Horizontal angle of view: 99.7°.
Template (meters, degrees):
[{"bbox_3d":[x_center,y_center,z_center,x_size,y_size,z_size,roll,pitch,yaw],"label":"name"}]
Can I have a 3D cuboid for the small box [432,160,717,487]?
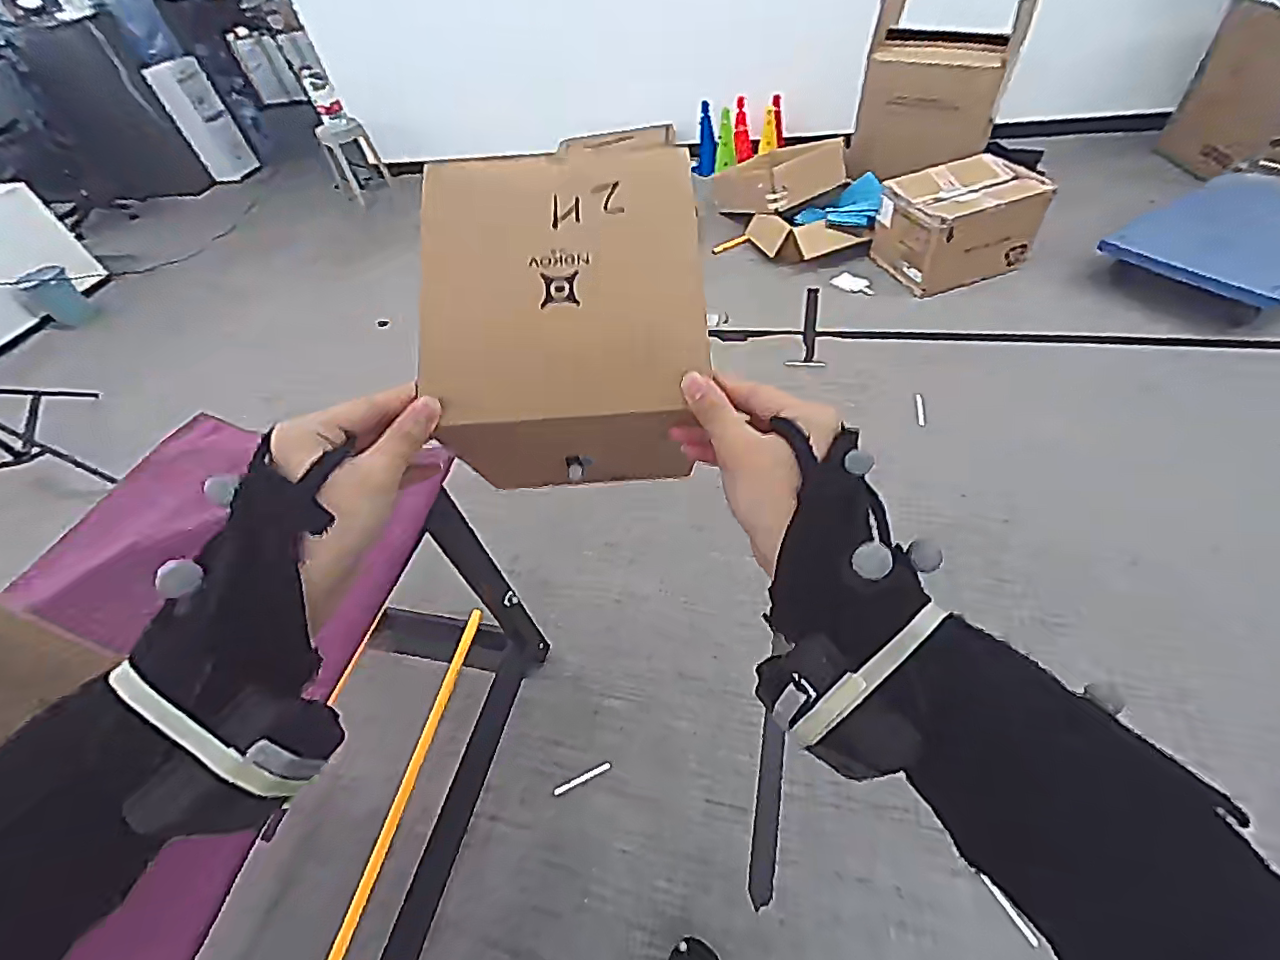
[{"bbox_3d":[-0.040,-0.095,0.399,0.168,0.176,0.179,-4,76,-1],"label":"small box"}]
